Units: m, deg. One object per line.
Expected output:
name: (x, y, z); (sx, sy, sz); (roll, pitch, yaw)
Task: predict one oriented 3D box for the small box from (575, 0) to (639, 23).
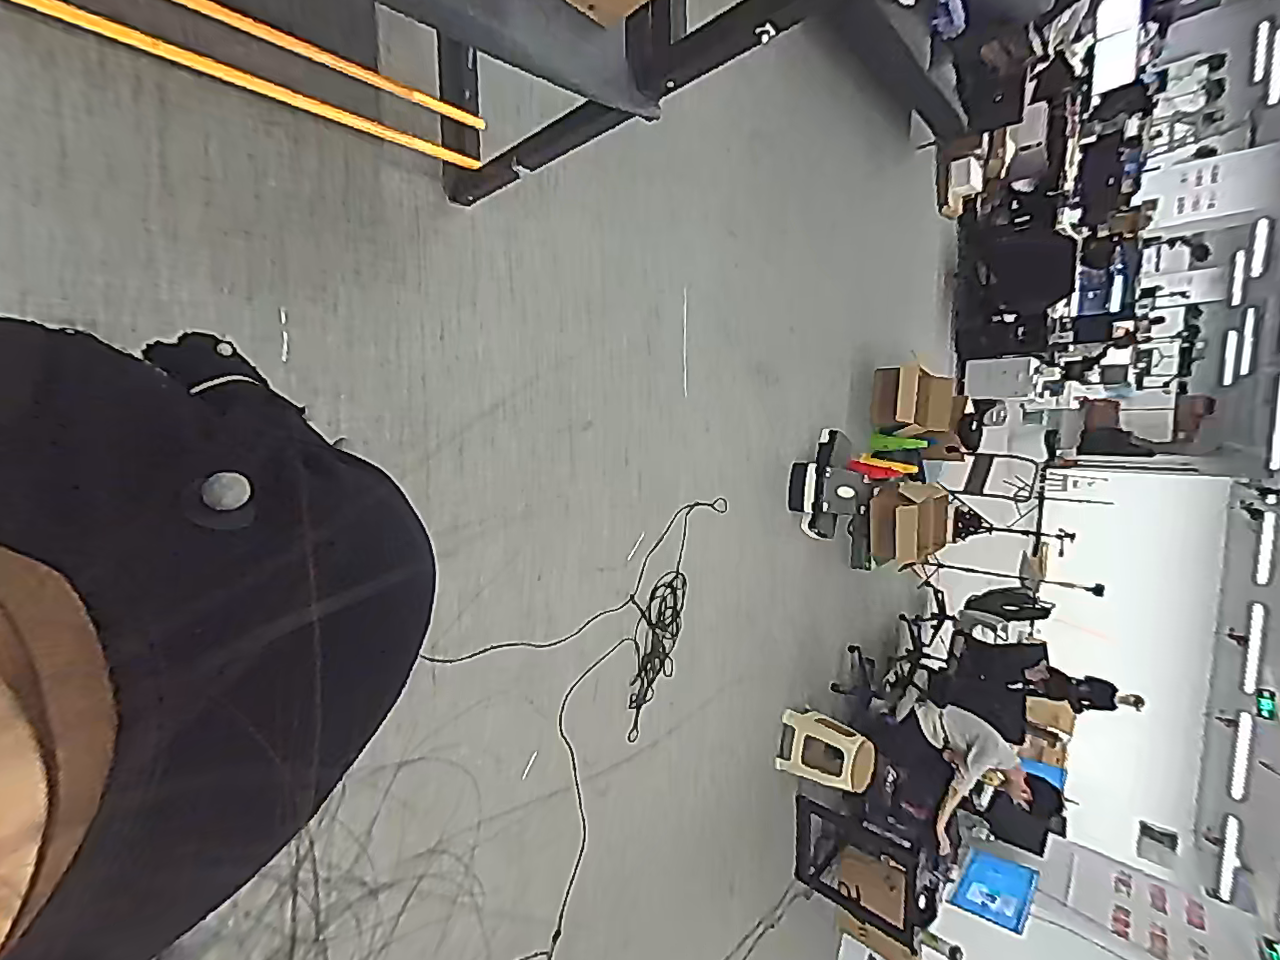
small box: (-0.058, -0.912, 0.884); (0.168, 0.176, 0.179); (-7, 98, -47)
